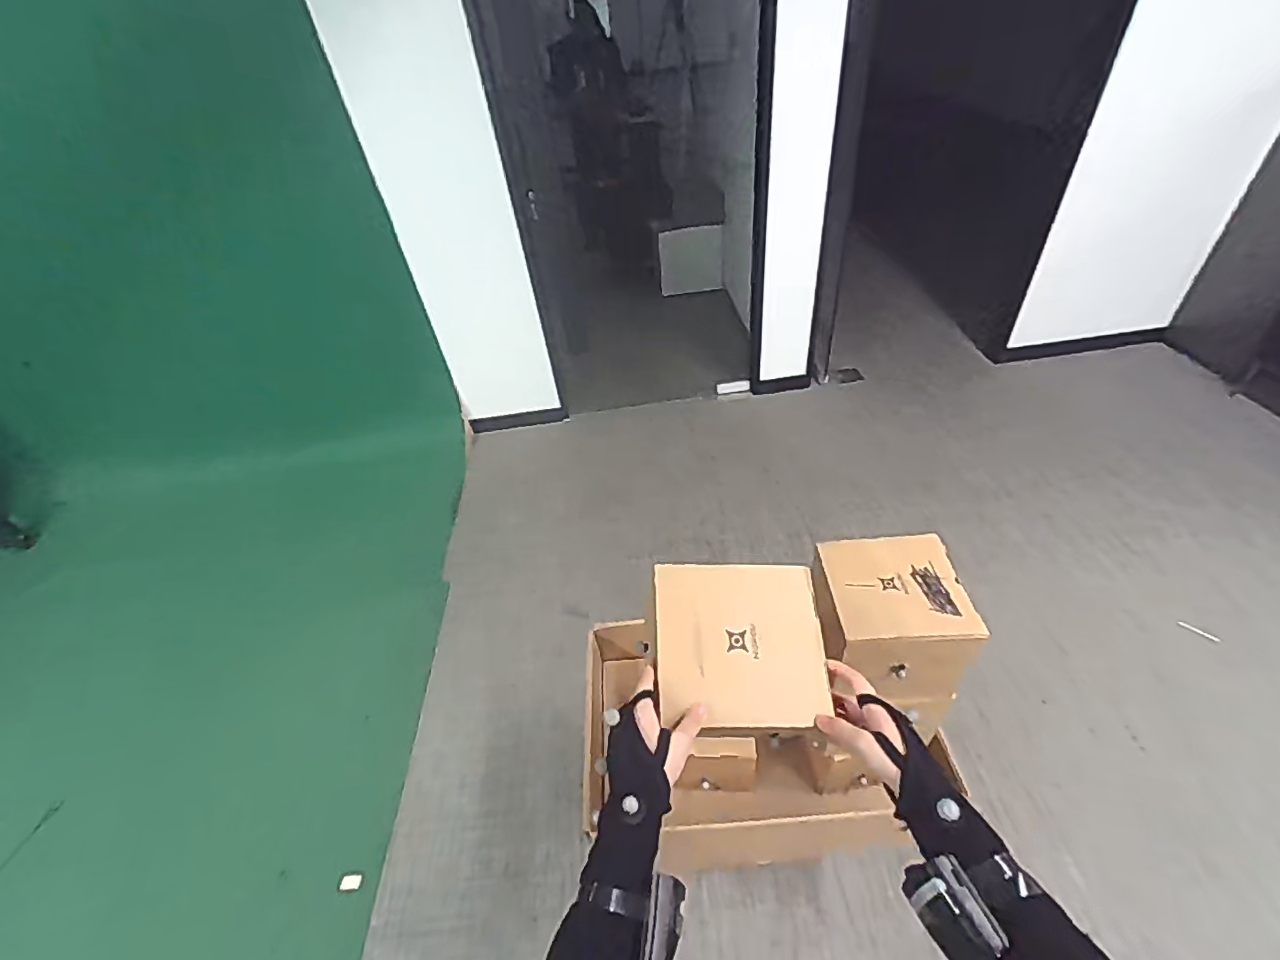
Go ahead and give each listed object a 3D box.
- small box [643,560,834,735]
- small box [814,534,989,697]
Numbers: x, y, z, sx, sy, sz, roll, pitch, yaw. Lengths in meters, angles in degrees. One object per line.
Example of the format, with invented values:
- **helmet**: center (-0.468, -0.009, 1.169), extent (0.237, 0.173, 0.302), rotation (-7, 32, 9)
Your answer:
- **small box**: center (0.097, 0.199, 0.625), extent (0.179, 0.176, 0.168), rotation (1, 62, -3)
- **small box**: center (0.351, 0.197, 0.777), extent (0.179, 0.176, 0.168), rotation (-4, 42, 5)
